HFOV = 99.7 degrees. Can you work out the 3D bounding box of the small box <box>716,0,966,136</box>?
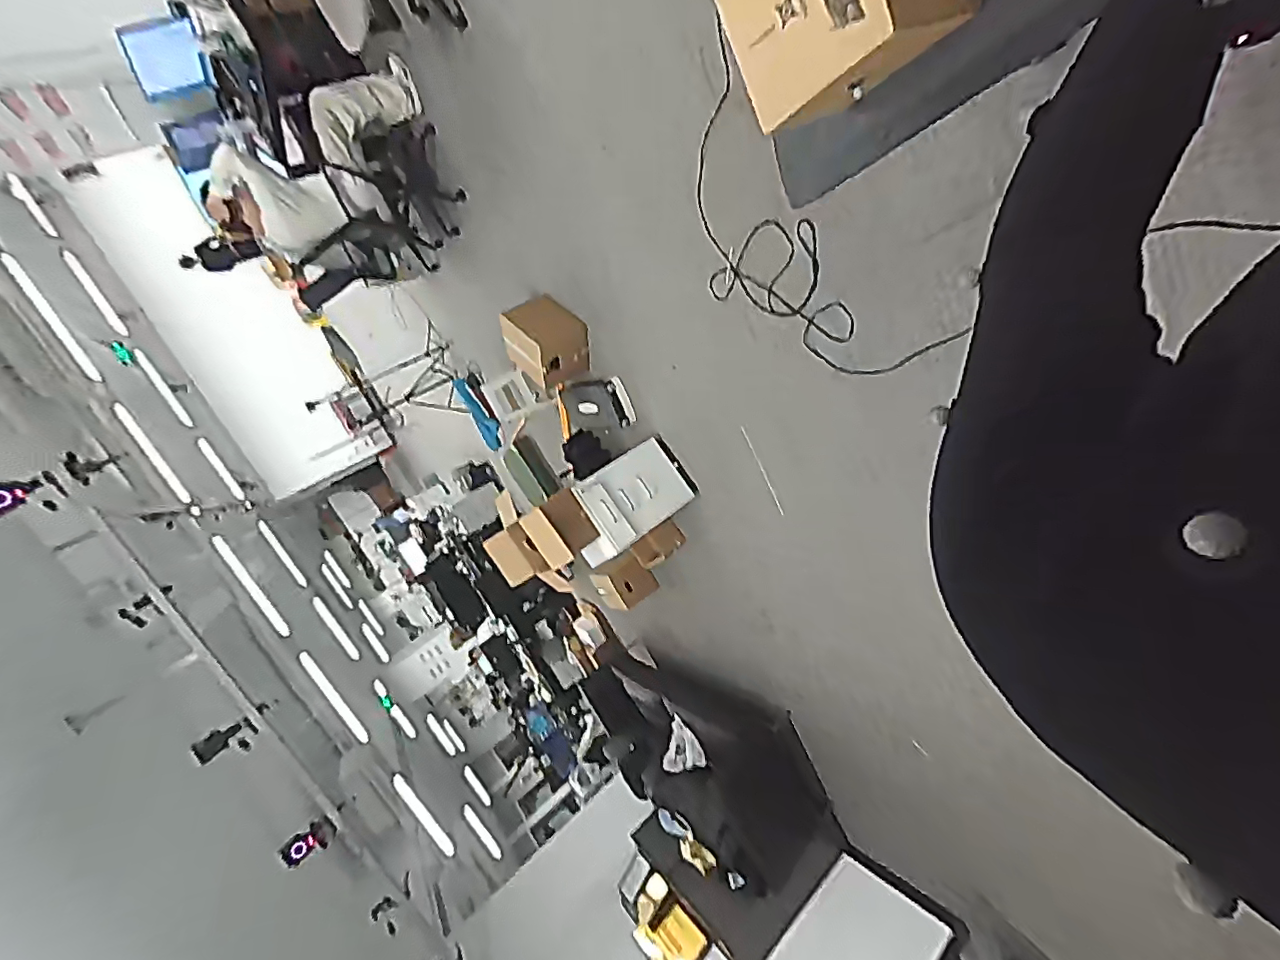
[{"bbox_3d":[0.219,-0.517,0.581,0.179,0.176,0.168,1,121,61],"label":"small box"}]
